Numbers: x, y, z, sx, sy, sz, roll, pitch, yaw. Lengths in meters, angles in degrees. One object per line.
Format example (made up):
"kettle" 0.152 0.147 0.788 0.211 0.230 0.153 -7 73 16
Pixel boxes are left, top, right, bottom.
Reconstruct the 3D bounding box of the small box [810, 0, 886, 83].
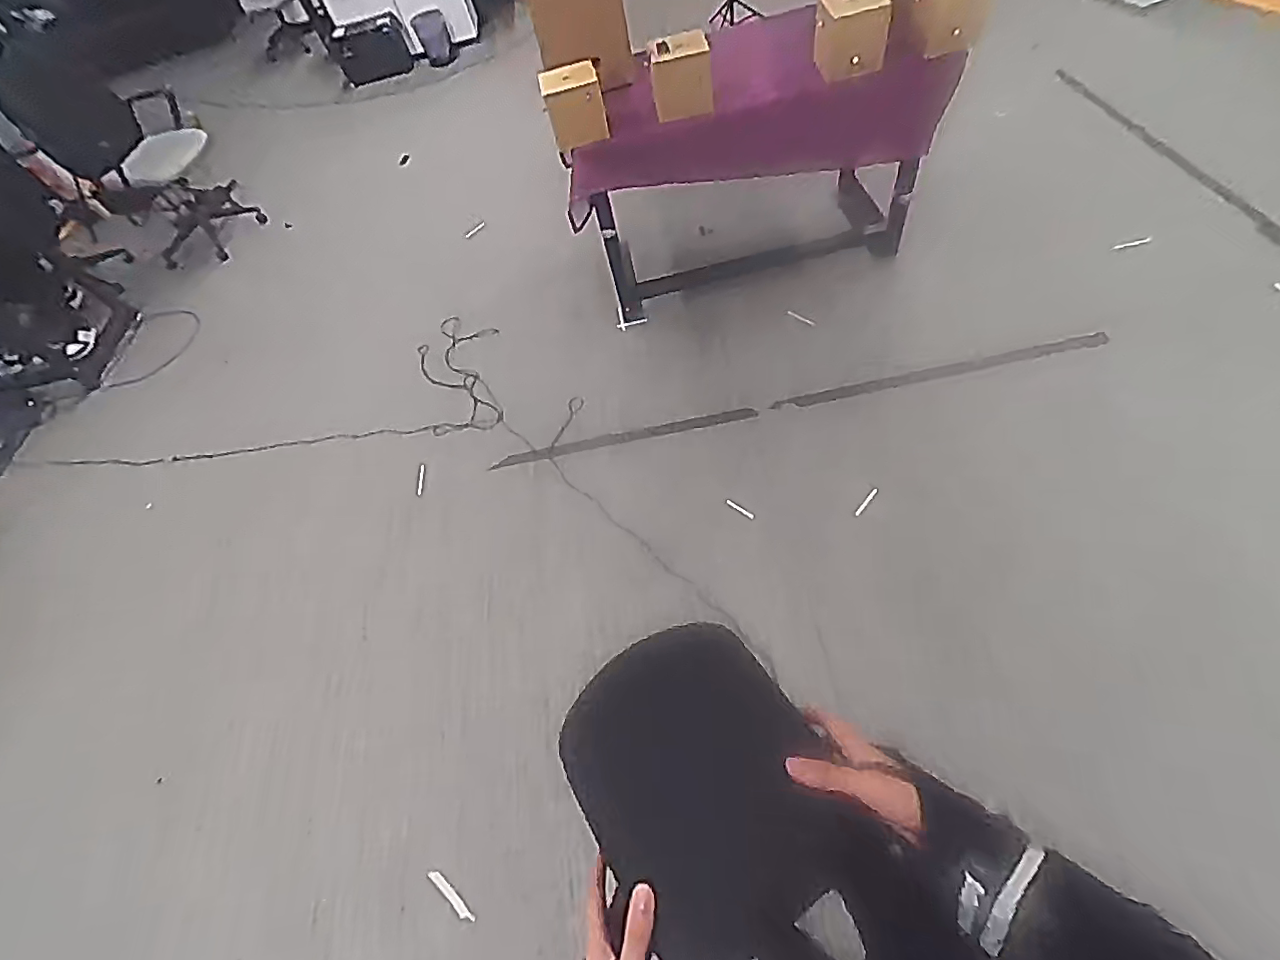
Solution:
"small box" 0.623 -1.349 1.644 0.168 0.176 0.179 -11 57 6

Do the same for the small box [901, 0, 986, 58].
"small box" 0.901 -1.403 1.613 0.168 0.176 0.179 -10 56 7

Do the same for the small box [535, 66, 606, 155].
"small box" -0.219 -1.169 1.720 0.179 0.176 0.168 -15 56 2
